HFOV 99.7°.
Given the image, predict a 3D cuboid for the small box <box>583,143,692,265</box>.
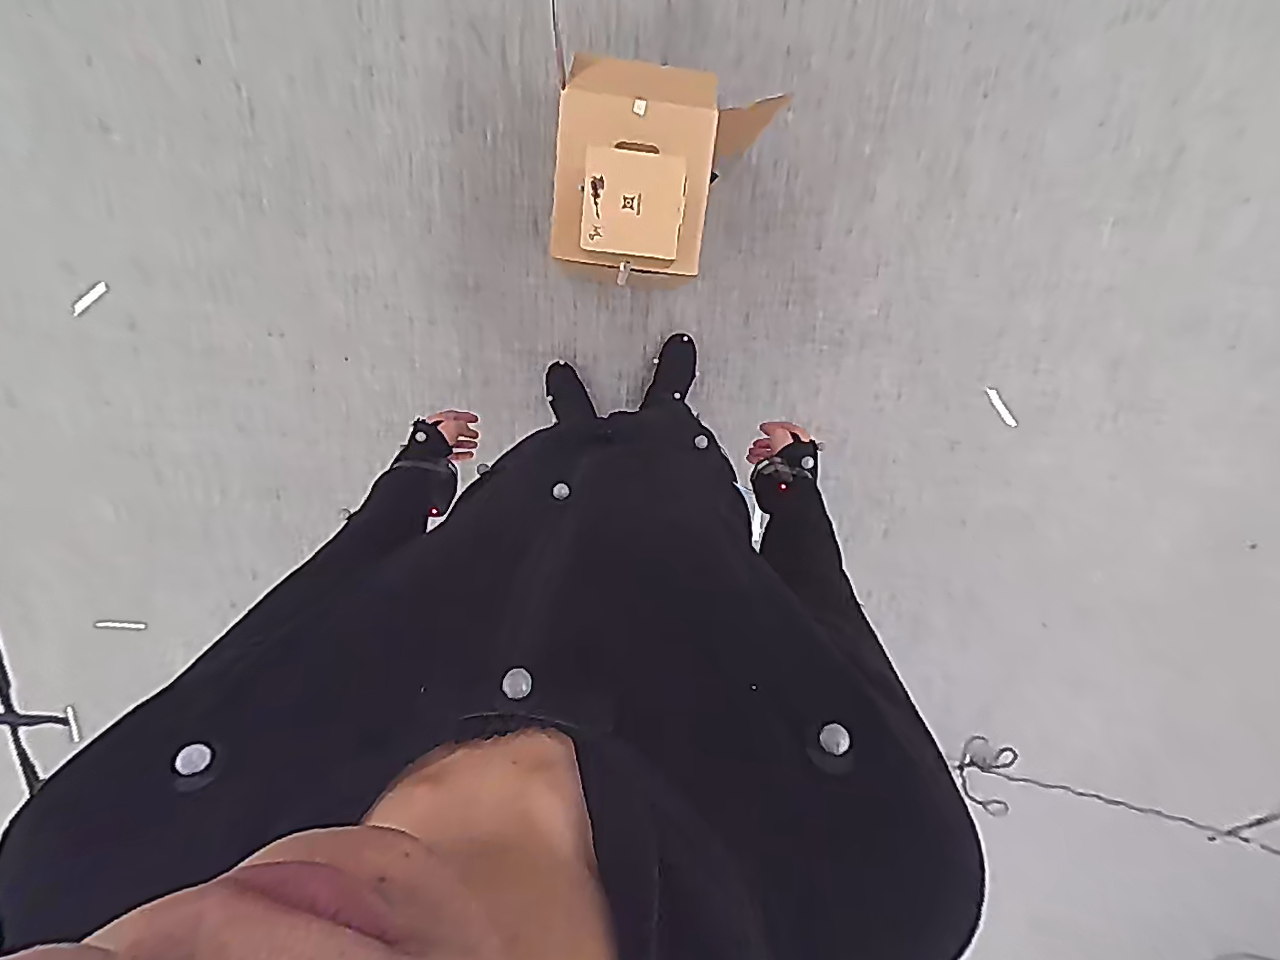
[{"bbox_3d":[-0.010,-0.503,1.010,0.179,0.176,0.168,6,107,-4],"label":"small box"}]
